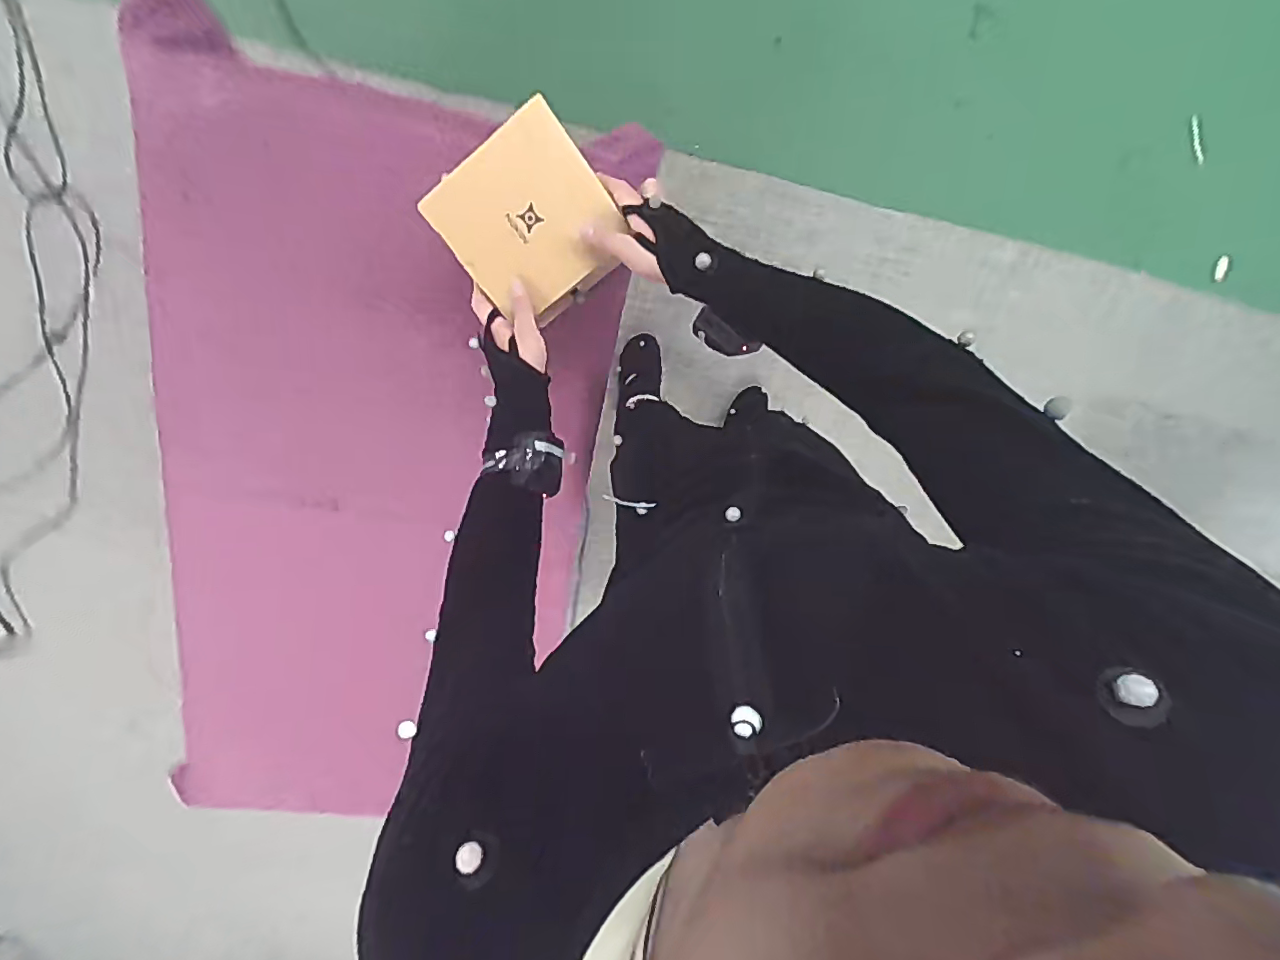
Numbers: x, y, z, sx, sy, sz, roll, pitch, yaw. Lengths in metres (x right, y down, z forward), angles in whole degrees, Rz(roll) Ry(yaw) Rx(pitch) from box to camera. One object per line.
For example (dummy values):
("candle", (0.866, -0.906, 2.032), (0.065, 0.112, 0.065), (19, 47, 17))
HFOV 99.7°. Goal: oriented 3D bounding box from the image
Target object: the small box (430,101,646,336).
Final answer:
("small box", (-0.108, -0.299, 0.652), (0.179, 0.176, 0.168), (-34, 105, 13))
